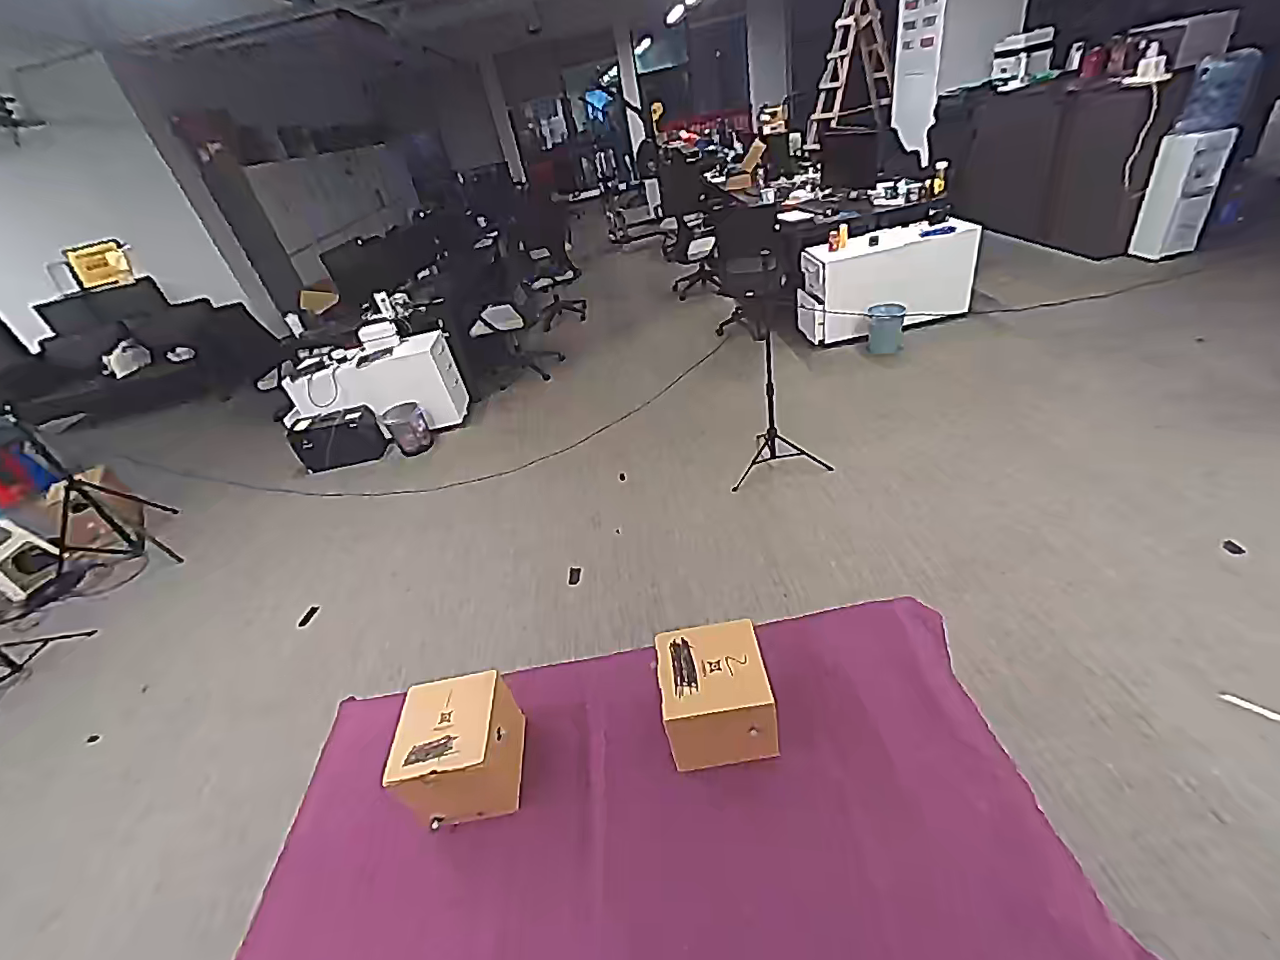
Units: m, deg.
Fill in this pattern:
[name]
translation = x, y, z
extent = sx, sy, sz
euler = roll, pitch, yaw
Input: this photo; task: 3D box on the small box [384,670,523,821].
[small box]
translation = -0.312, 0.470, 0.951
extent = 0.168, 0.176, 0.179
euler = -12, 35, 2
